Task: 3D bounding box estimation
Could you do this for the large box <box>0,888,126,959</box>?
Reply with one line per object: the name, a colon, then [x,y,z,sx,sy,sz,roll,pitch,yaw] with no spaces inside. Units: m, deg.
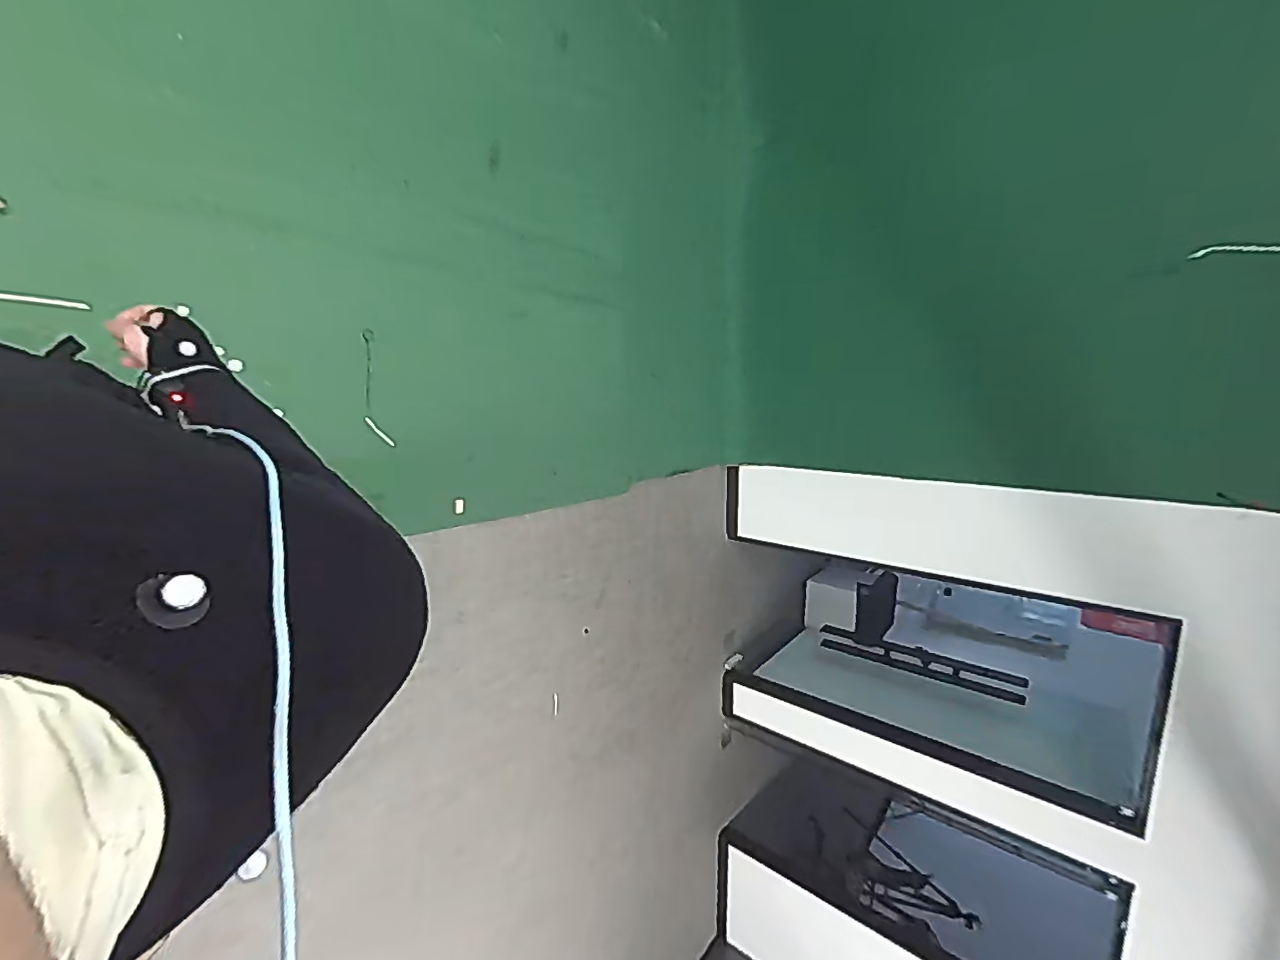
large box: [-1.303,1.086,1.023,0.408,0.320,0.320,18,82,-51]
